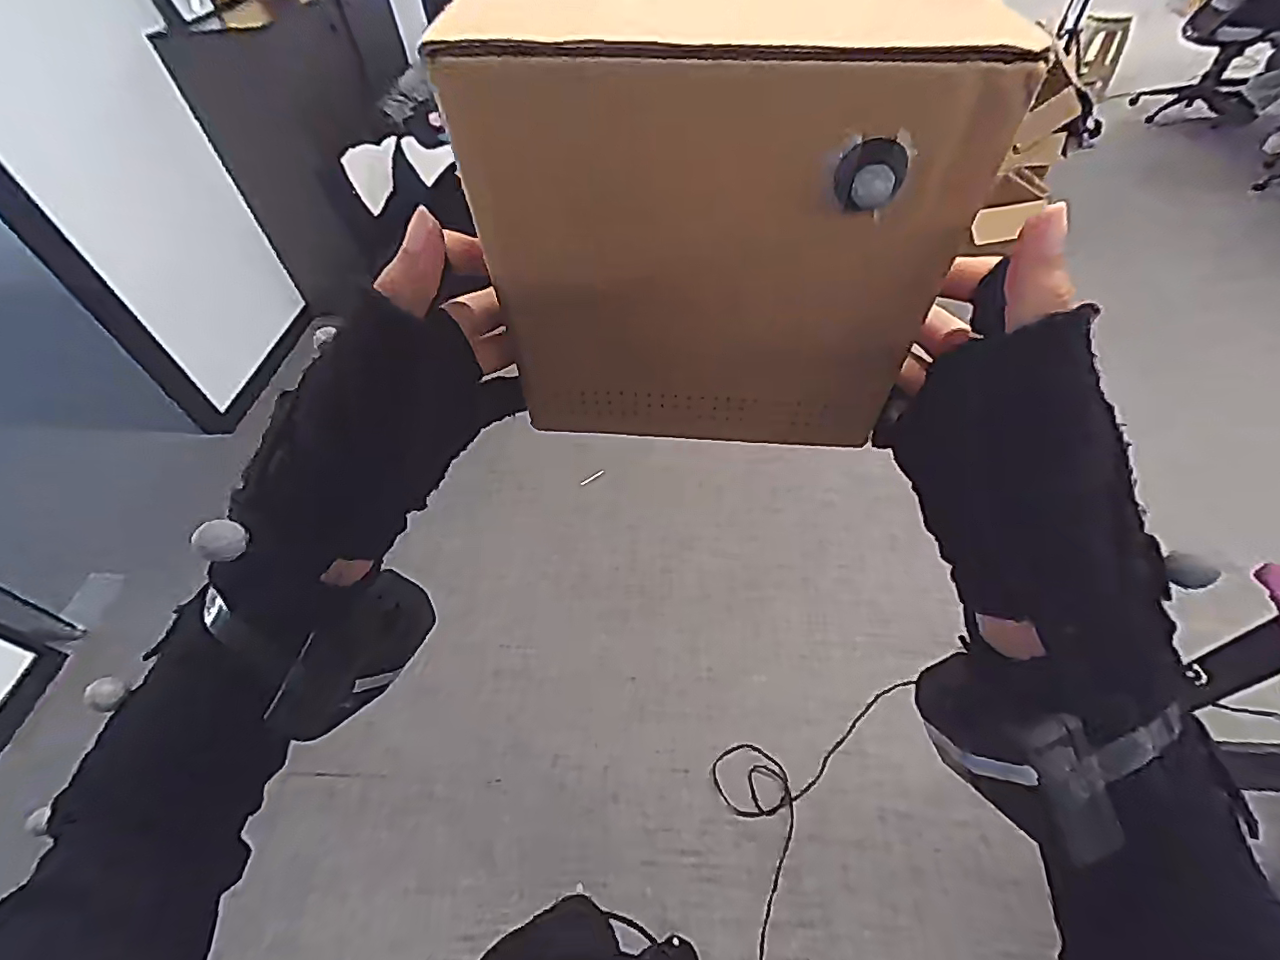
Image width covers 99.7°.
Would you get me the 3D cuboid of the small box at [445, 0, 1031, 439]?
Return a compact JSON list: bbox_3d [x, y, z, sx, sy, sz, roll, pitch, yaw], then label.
[{"bbox_3d":[0.035,-0.136,0.269,0.179,0.176,0.168,3,55,3],"label":"small box"}]
